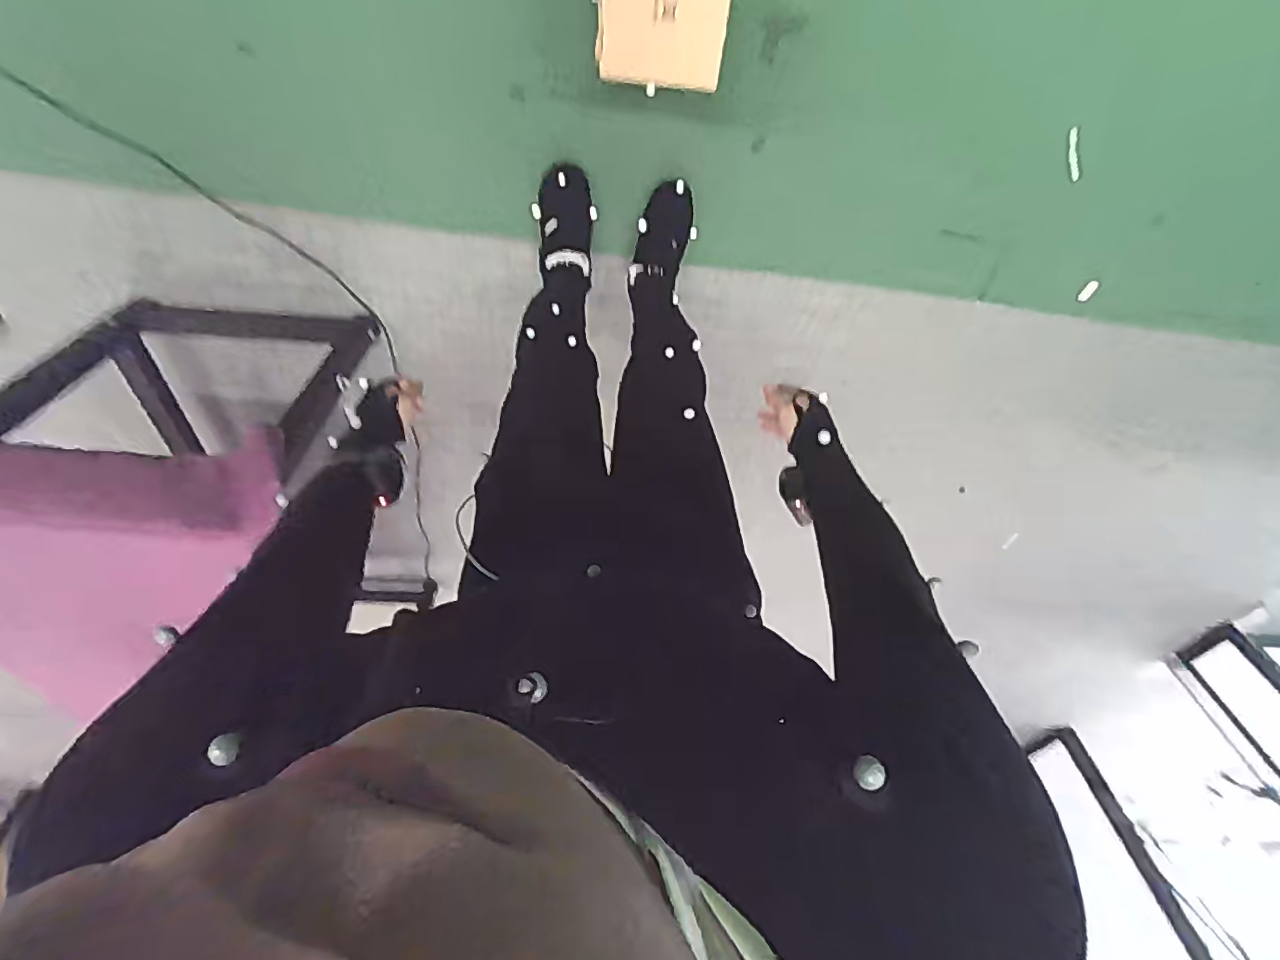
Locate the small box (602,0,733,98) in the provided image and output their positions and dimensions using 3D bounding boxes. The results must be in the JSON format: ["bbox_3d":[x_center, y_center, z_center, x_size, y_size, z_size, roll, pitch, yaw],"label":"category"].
[{"bbox_3d":[0.036,-0.691,0.807,0.179,0.176,0.168,3,132,-4],"label":"small box"}]
